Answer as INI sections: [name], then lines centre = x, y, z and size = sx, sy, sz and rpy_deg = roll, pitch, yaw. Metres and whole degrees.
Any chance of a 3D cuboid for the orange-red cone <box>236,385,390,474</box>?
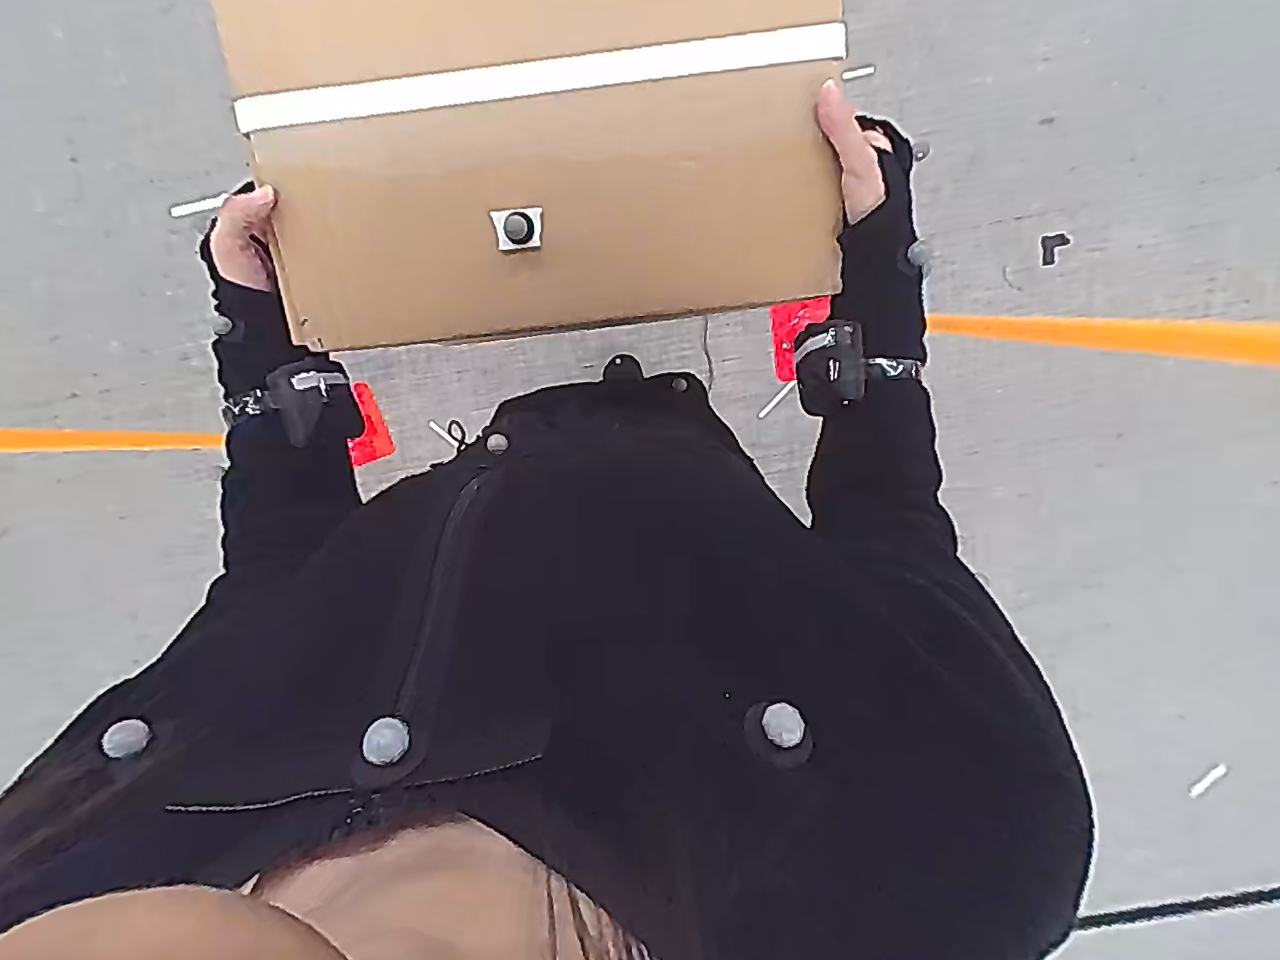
[orange-red cone]
centre = -0.761, -0.101, 1.216
size = 0.199, 0.360, 0.198
rpy_deg = -18, 98, 4
